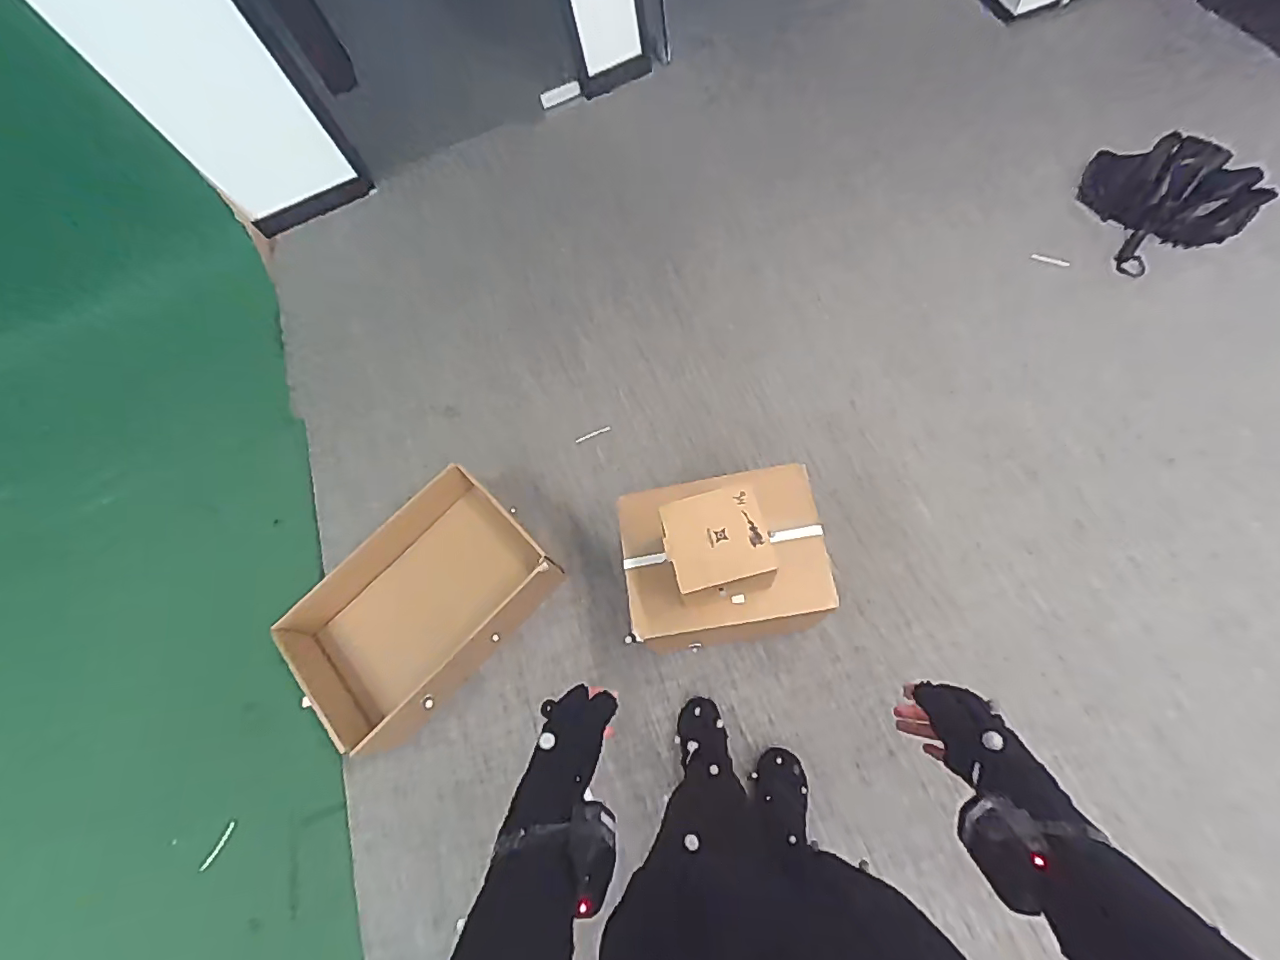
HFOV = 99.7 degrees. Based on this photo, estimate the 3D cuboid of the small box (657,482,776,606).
[{"bbox_3d":[0.144,0.128,1.011,0.179,0.176,0.168,-16,67,4],"label":"small box"}]
